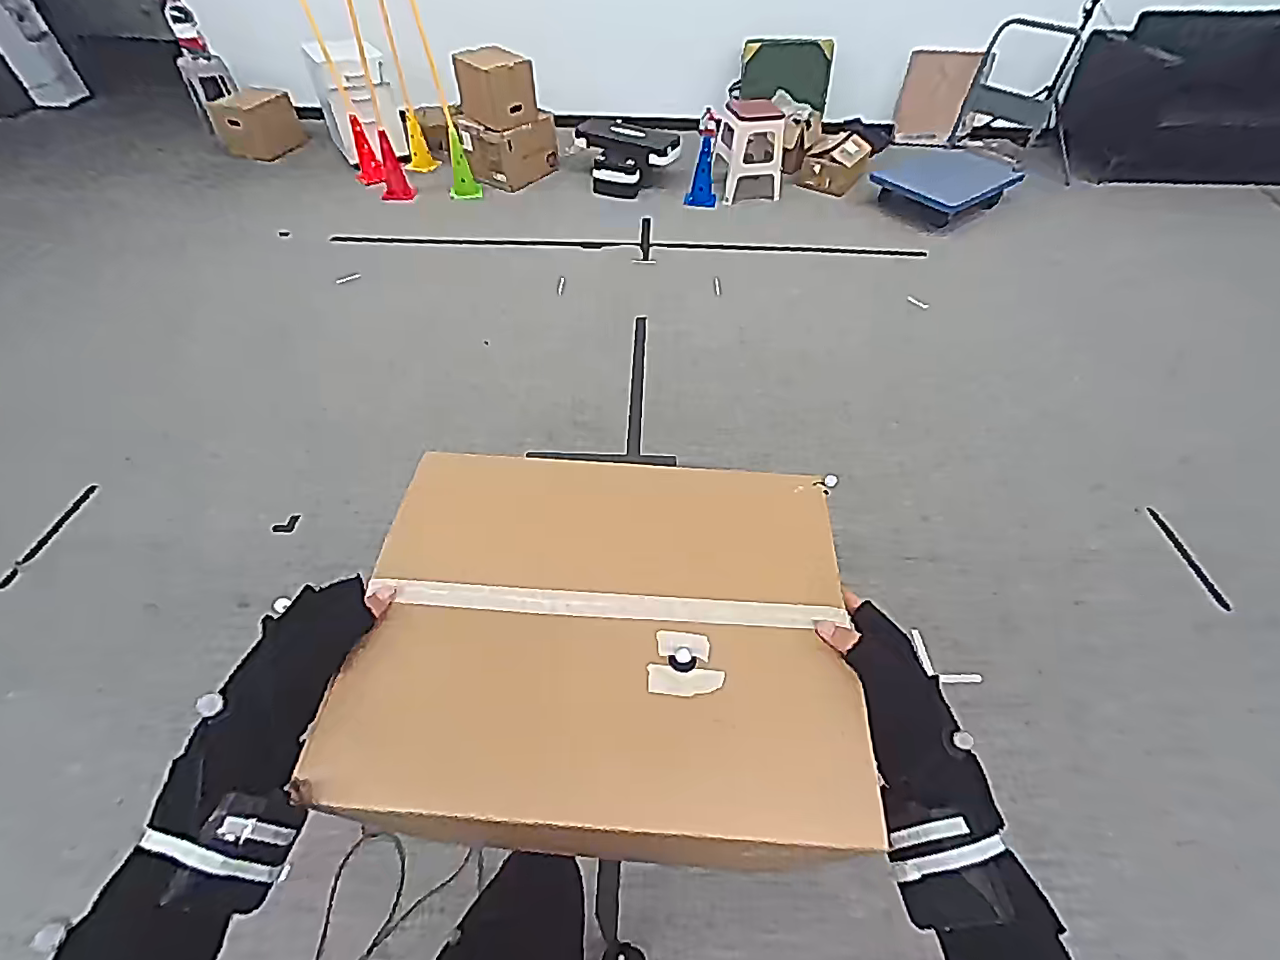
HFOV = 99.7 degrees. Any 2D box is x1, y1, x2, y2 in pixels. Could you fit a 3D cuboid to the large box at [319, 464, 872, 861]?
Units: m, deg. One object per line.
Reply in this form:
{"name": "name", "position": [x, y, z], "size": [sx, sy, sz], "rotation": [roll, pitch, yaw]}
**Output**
{"name": "large box", "position": [-0.029, 0.205, 0.589], "size": [0.408, 0.320, 0.320], "rotation": [4, 52, 1]}
